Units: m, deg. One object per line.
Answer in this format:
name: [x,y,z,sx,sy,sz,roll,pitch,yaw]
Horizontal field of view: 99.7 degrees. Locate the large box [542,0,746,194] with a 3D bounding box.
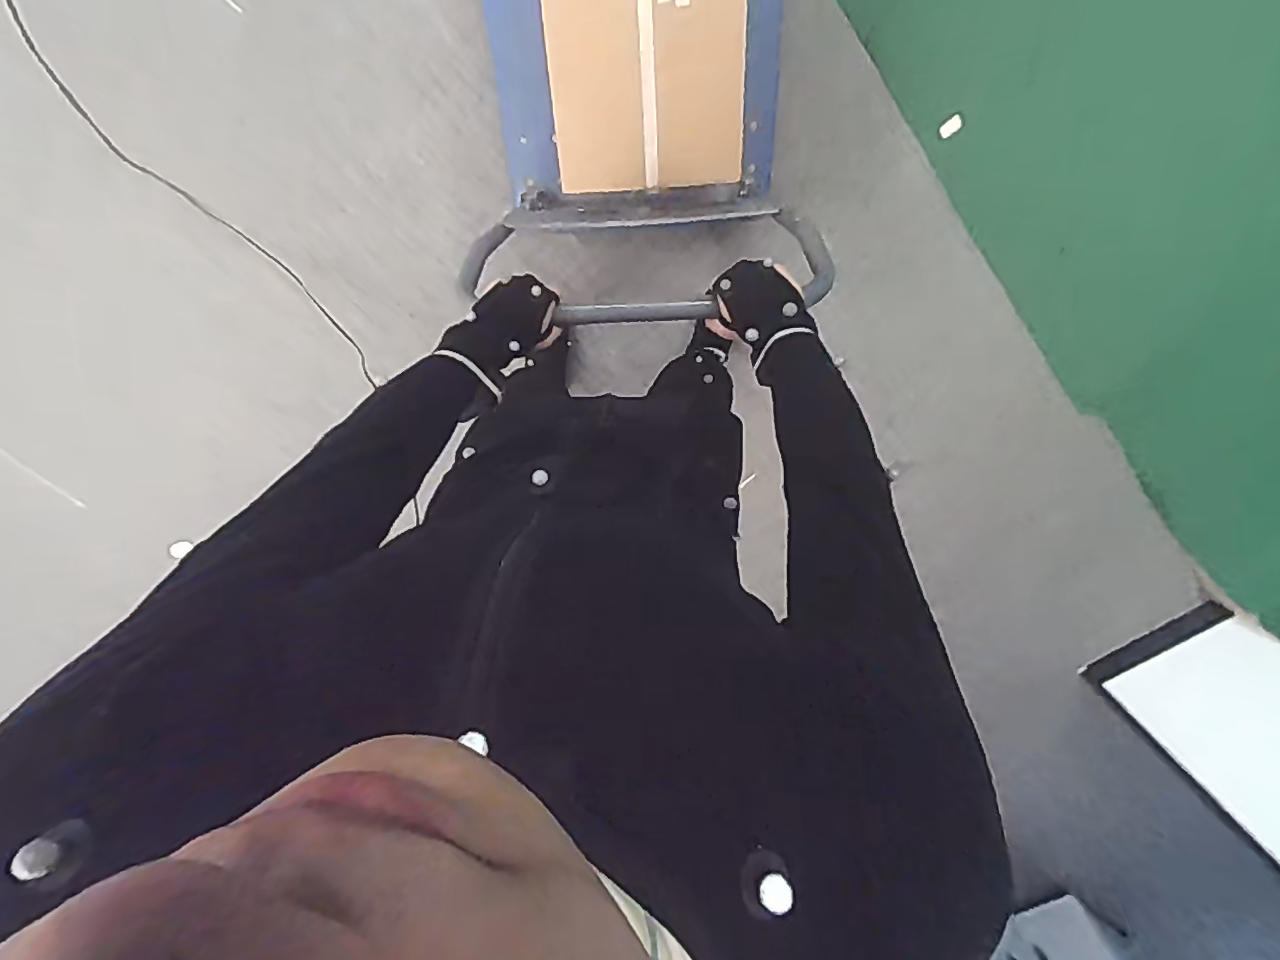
large box: [0.013,-0.756,0.970,0.320,0.320,0.408,-3,120,2]
